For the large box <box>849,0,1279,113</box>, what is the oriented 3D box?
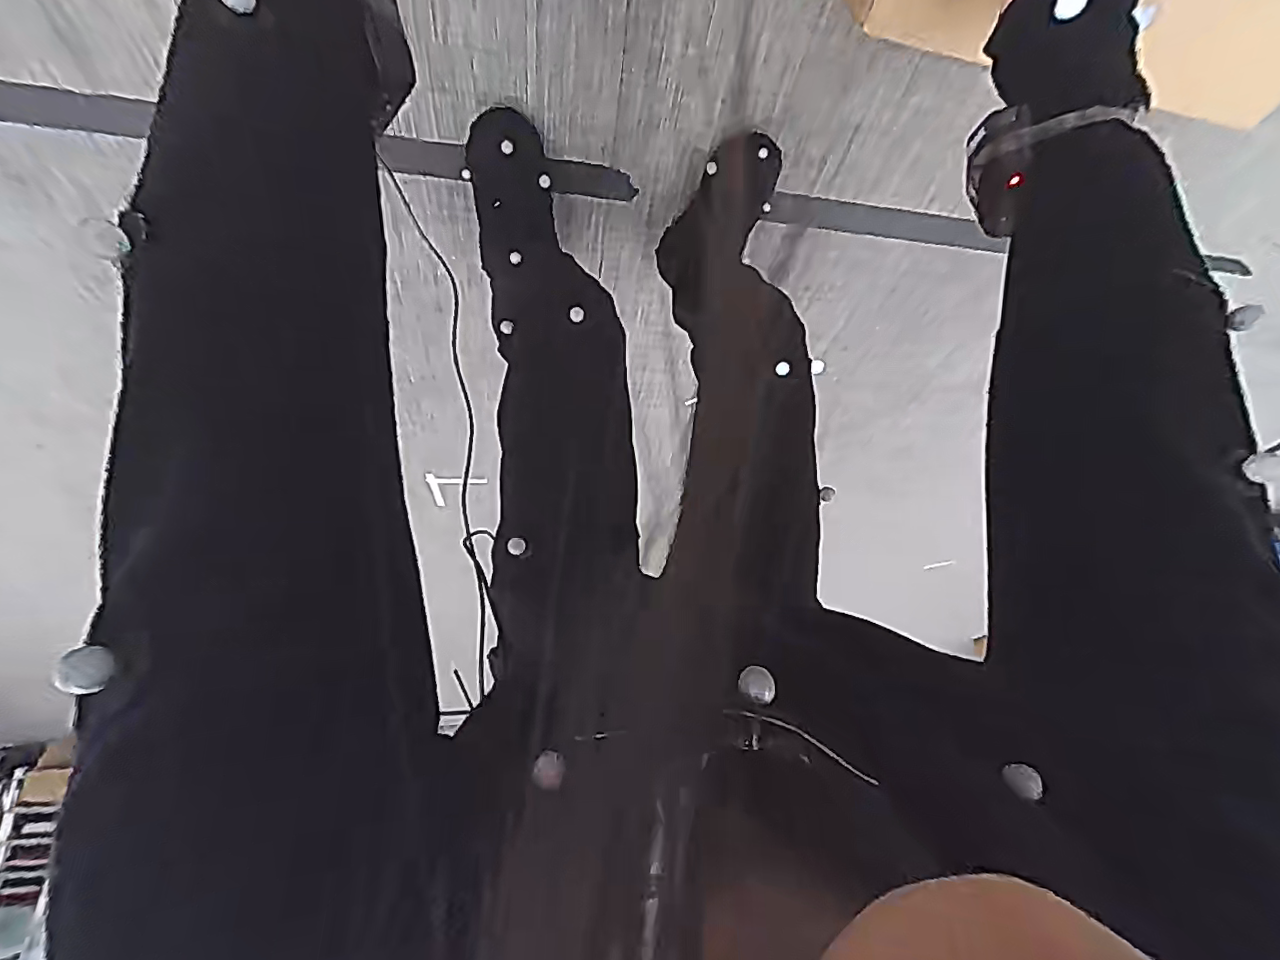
[{"bbox_3d":[0.384,-0.556,0.420,0.408,0.320,0.320,2,148,-13],"label":"large box"}]
